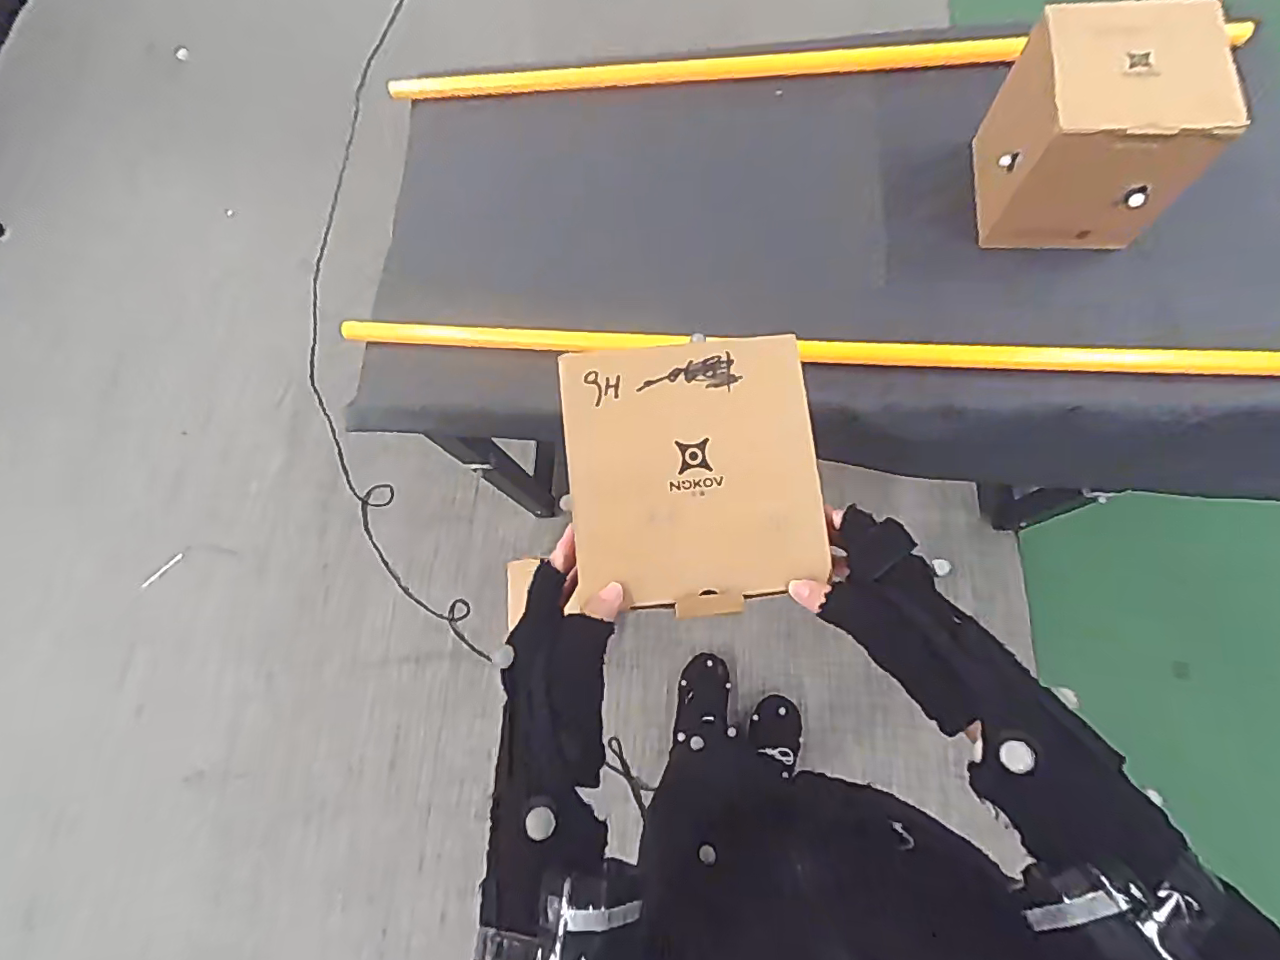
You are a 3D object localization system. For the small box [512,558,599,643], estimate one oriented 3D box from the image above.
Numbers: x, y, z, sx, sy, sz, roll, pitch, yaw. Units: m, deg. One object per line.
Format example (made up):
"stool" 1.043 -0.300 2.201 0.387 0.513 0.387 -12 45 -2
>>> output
"small box" -0.194 0.286 1.271 0.168 0.176 0.179 -6 73 6

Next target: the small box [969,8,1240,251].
"small box" 0.506 -0.388 0.623 0.168 0.176 0.179 4 72 7

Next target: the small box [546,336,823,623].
"small box" 0.028 0.007 0.440 0.168 0.176 0.179 -9 82 -2
